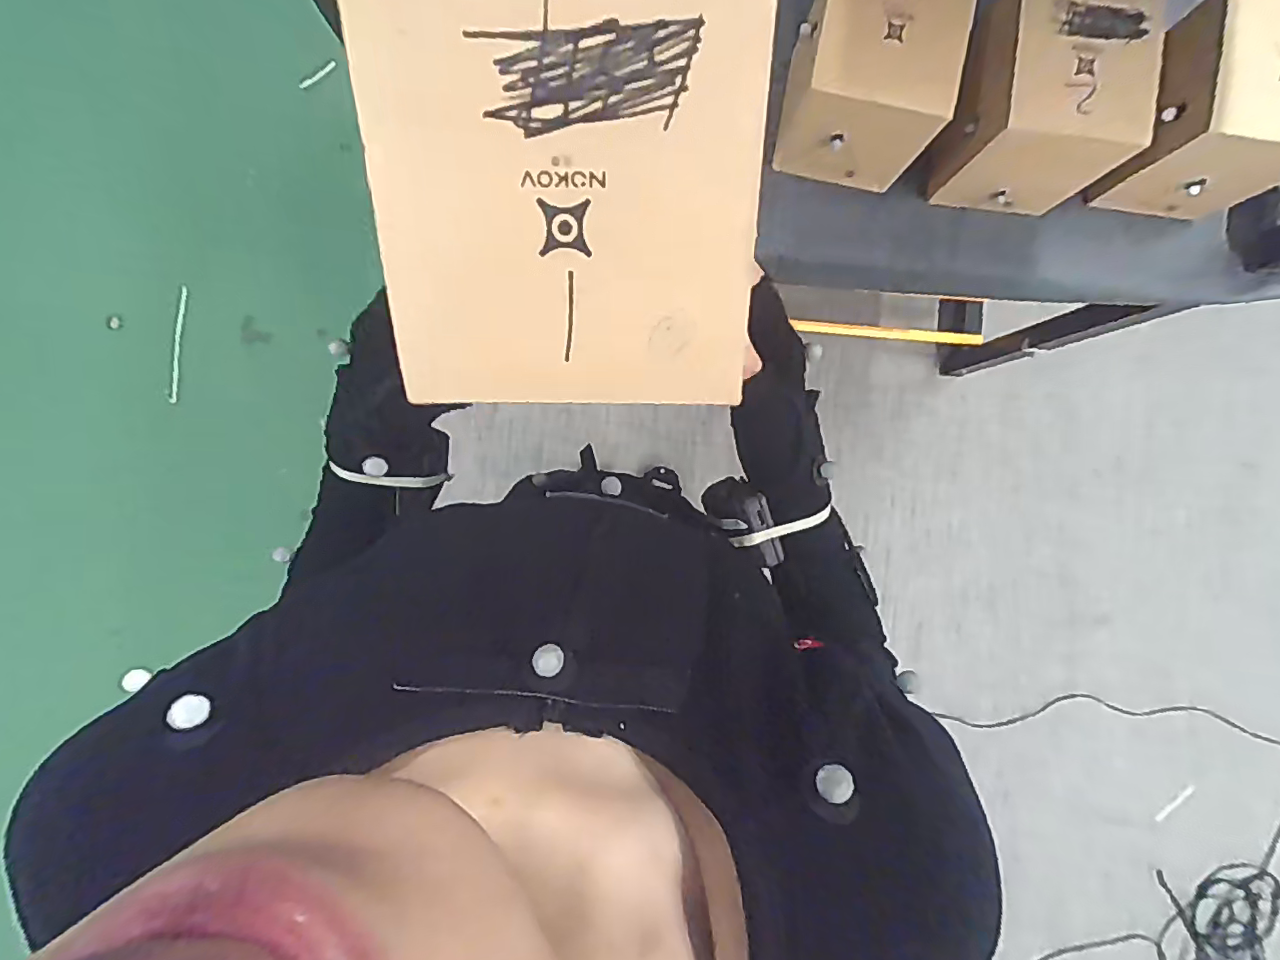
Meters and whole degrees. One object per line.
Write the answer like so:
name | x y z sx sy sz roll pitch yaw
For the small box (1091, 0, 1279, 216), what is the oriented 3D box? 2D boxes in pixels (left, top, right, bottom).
small box | 0.726 -0.464 0.686 0.168 0.176 0.179 8 90 -1

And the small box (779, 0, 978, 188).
small box | 0.286 -0.504 0.682 0.168 0.176 0.179 11 90 -1
